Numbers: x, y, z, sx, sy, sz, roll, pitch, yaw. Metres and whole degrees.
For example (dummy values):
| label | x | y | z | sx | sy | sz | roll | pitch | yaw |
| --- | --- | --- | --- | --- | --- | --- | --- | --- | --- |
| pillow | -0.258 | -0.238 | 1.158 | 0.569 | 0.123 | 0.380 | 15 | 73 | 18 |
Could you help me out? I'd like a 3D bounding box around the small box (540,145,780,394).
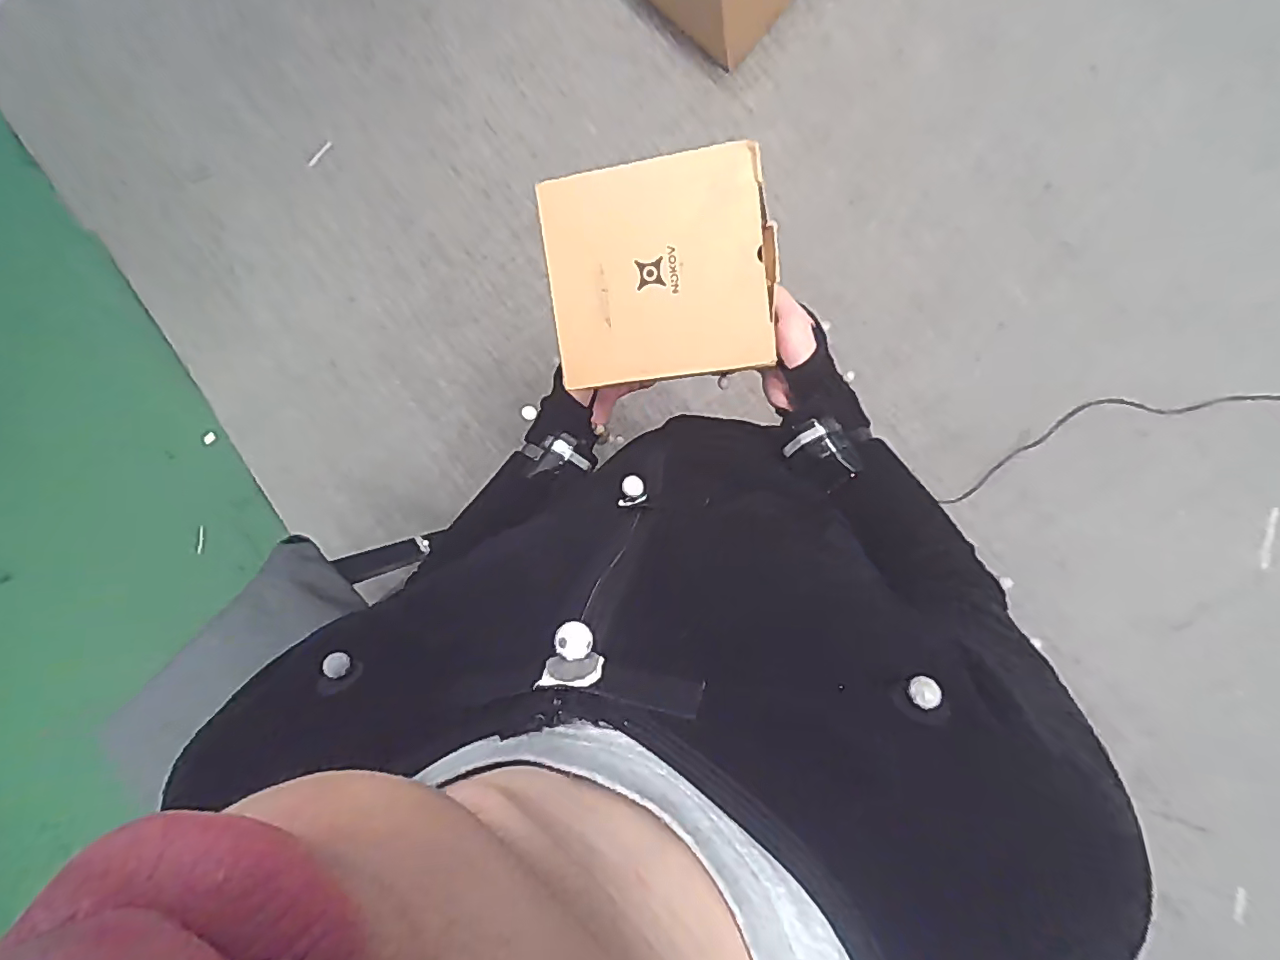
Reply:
| label | x | y | z | sx | sy | sz | roll | pitch | yaw |
| --- | --- | --- | --- | --- | --- | --- | --- | --- | --- |
| small box | 0.029 | -0.174 | 0.503 | 0.179 | 0.176 | 0.168 | -6 | 98 | 12 |
